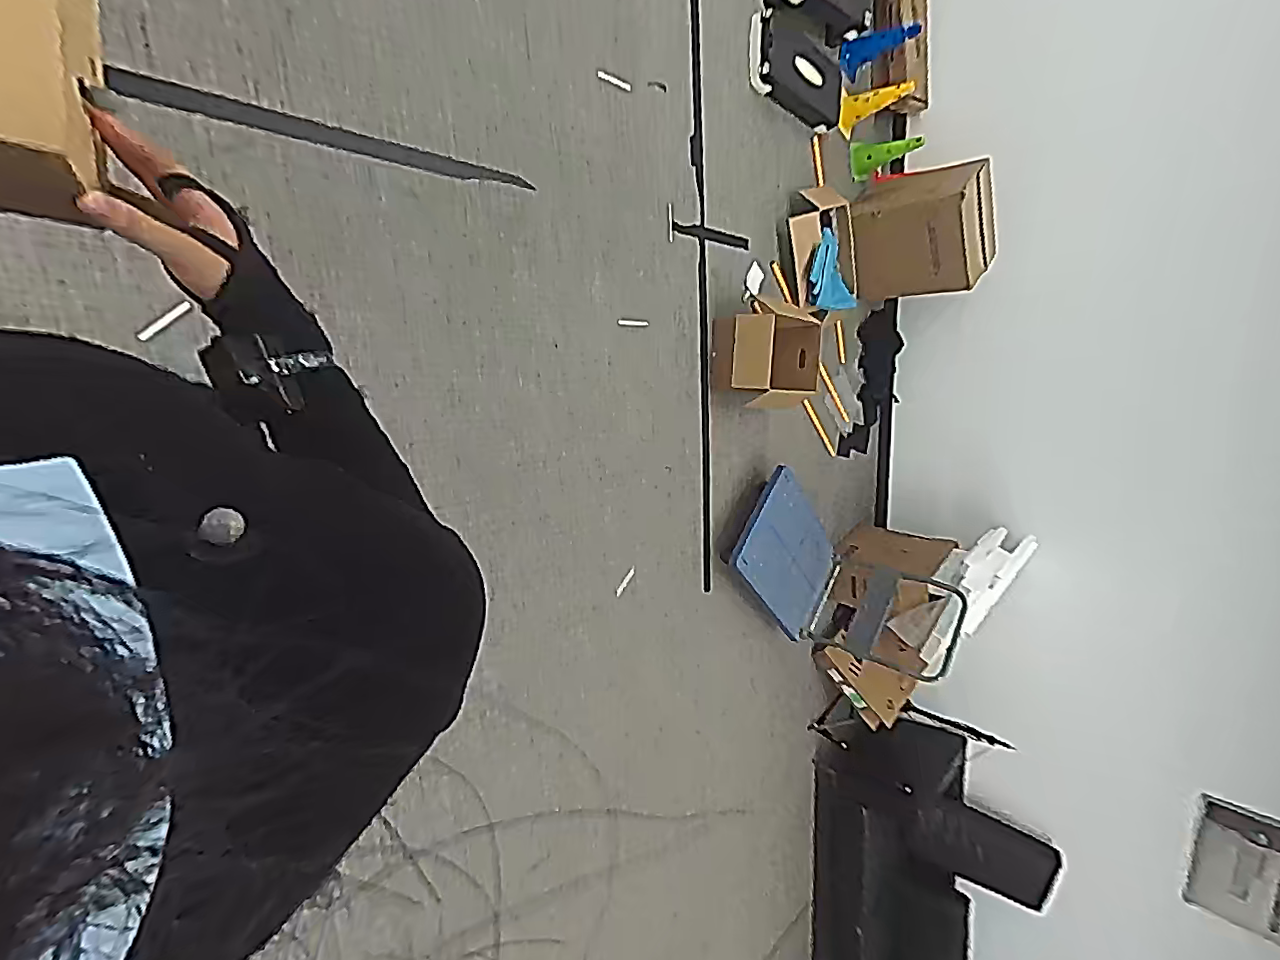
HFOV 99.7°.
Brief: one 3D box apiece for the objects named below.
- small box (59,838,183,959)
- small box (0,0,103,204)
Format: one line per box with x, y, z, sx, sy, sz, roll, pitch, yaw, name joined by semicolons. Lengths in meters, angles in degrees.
-1.080;0.893;1.127;0.168;0.176;0.179;-10;104;-44;small box
-0.409;-0.265;0.280;0.179;0.176;0.168;-2;98;-38;small box
